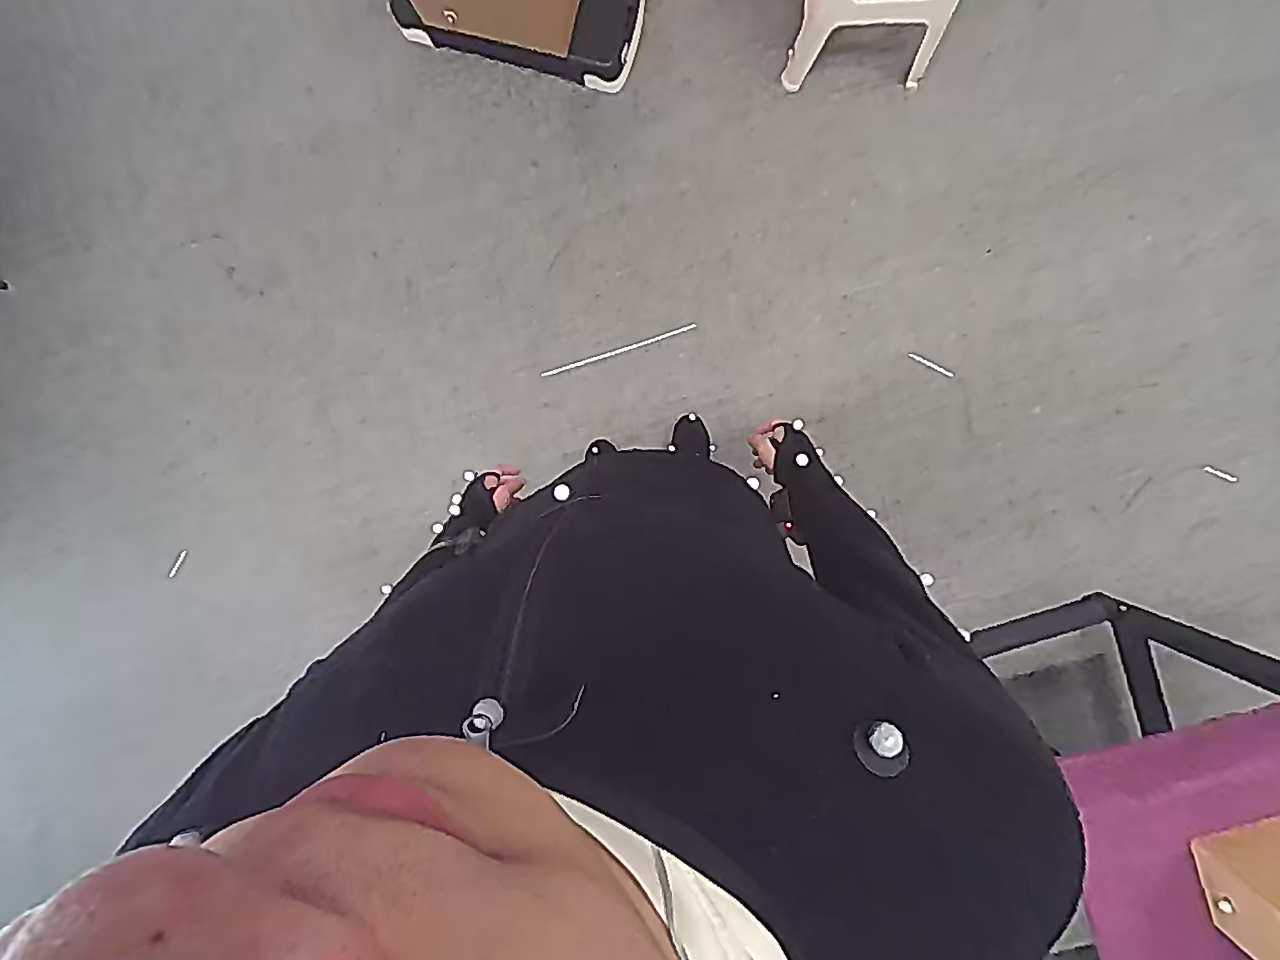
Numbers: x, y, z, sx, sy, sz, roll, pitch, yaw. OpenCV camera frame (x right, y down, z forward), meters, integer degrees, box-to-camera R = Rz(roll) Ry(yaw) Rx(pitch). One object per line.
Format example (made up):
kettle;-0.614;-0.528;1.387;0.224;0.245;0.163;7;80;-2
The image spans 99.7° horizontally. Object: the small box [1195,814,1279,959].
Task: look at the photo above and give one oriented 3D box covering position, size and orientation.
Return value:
small box;1.037;0.654;0.833;0.179;0.176;0.168;-20;93;4
